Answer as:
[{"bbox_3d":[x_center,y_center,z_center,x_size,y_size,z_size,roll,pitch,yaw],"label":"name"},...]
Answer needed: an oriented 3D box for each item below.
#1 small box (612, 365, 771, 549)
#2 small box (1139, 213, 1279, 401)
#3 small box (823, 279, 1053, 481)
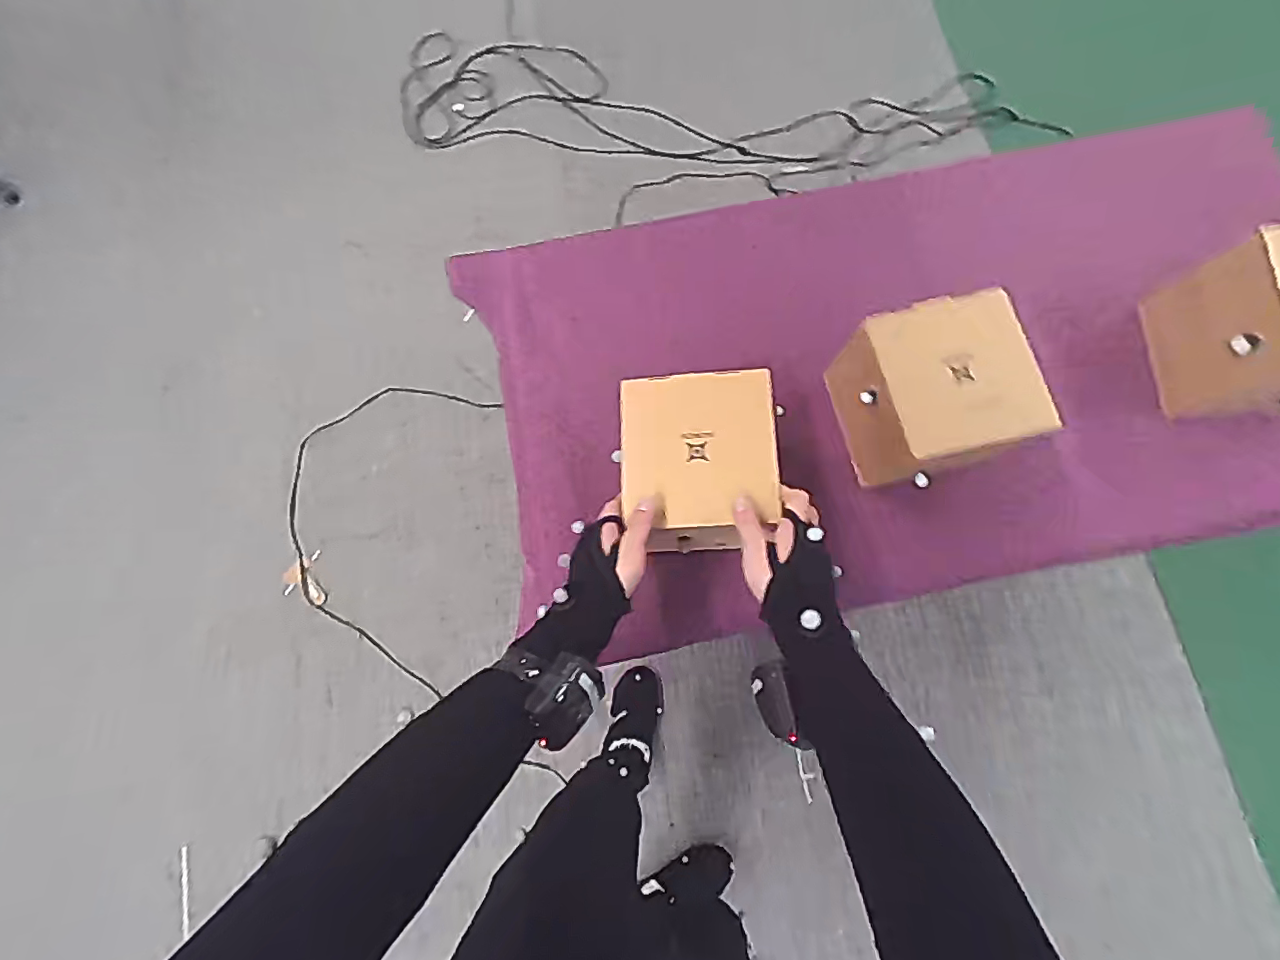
[{"bbox_3d":[0.066,-0.014,0.644,0.168,0.176,0.179,-3,72,9],"label":"small box"},{"bbox_3d":[0.784,-0.202,0.670,0.168,0.176,0.179,-1,77,2],"label":"small box"},{"bbox_3d":[0.347,-0.113,0.672,0.168,0.176,0.179,-13,77,0],"label":"small box"}]
